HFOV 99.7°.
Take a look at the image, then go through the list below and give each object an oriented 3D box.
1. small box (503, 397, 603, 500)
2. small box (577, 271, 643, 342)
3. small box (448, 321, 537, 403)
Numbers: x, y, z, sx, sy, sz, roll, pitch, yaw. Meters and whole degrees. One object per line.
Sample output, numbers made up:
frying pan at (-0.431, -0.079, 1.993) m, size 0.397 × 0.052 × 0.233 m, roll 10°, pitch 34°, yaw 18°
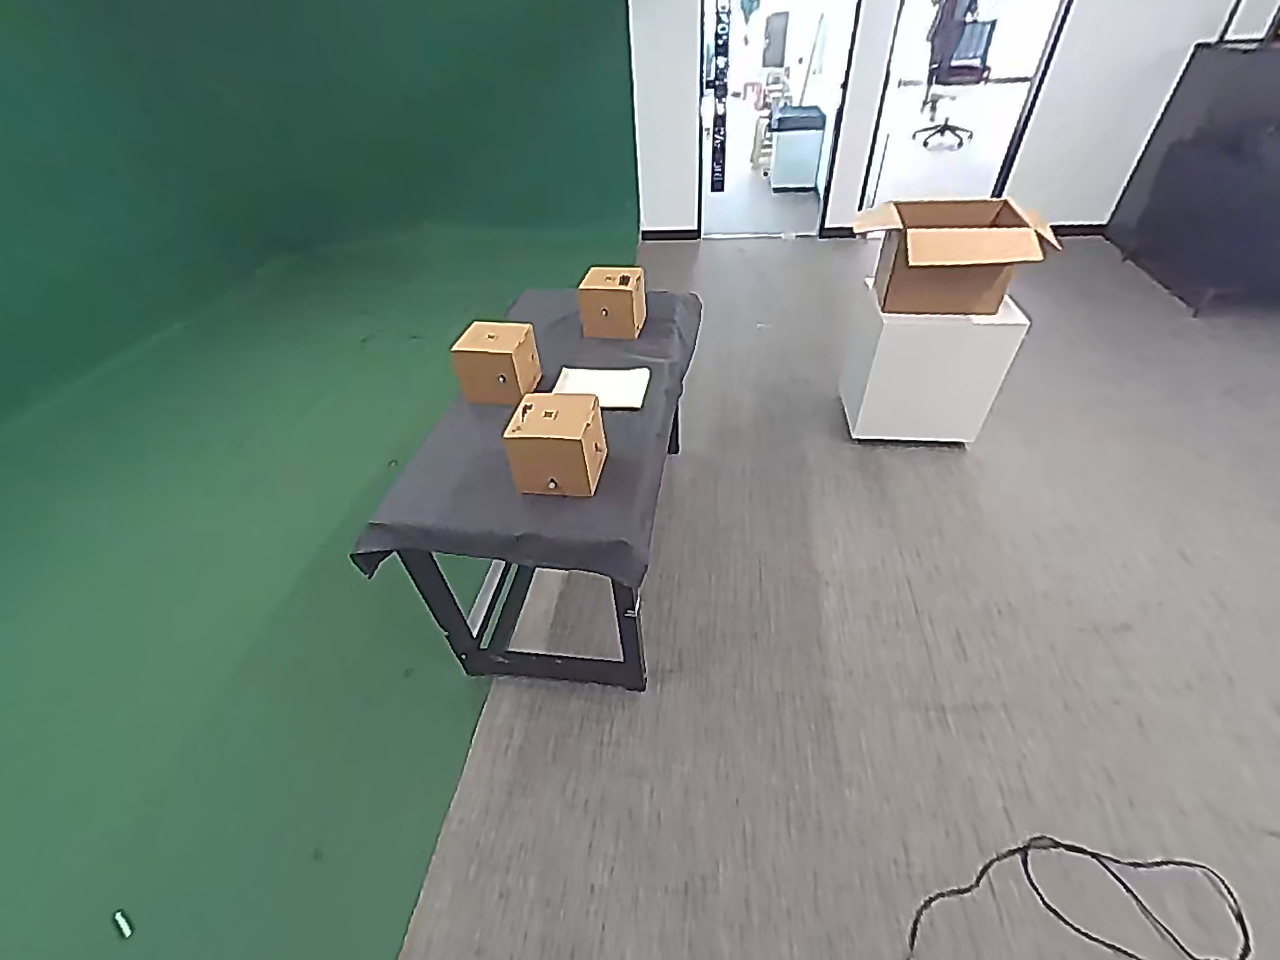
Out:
small box at (-0.188, -0.070, 1.236) m, size 0.179 × 0.176 × 0.168 m, roll 4°, pitch 43°, yaw 9°
small box at (-0.090, -0.561, 1.756) m, size 0.179 × 0.176 × 0.168 m, roll 6°, pitch 44°, yaw 11°
small box at (-0.400, -0.327, 1.507) m, size 0.179 × 0.176 × 0.168 m, roll 4°, pitch 42°, yaw 9°
